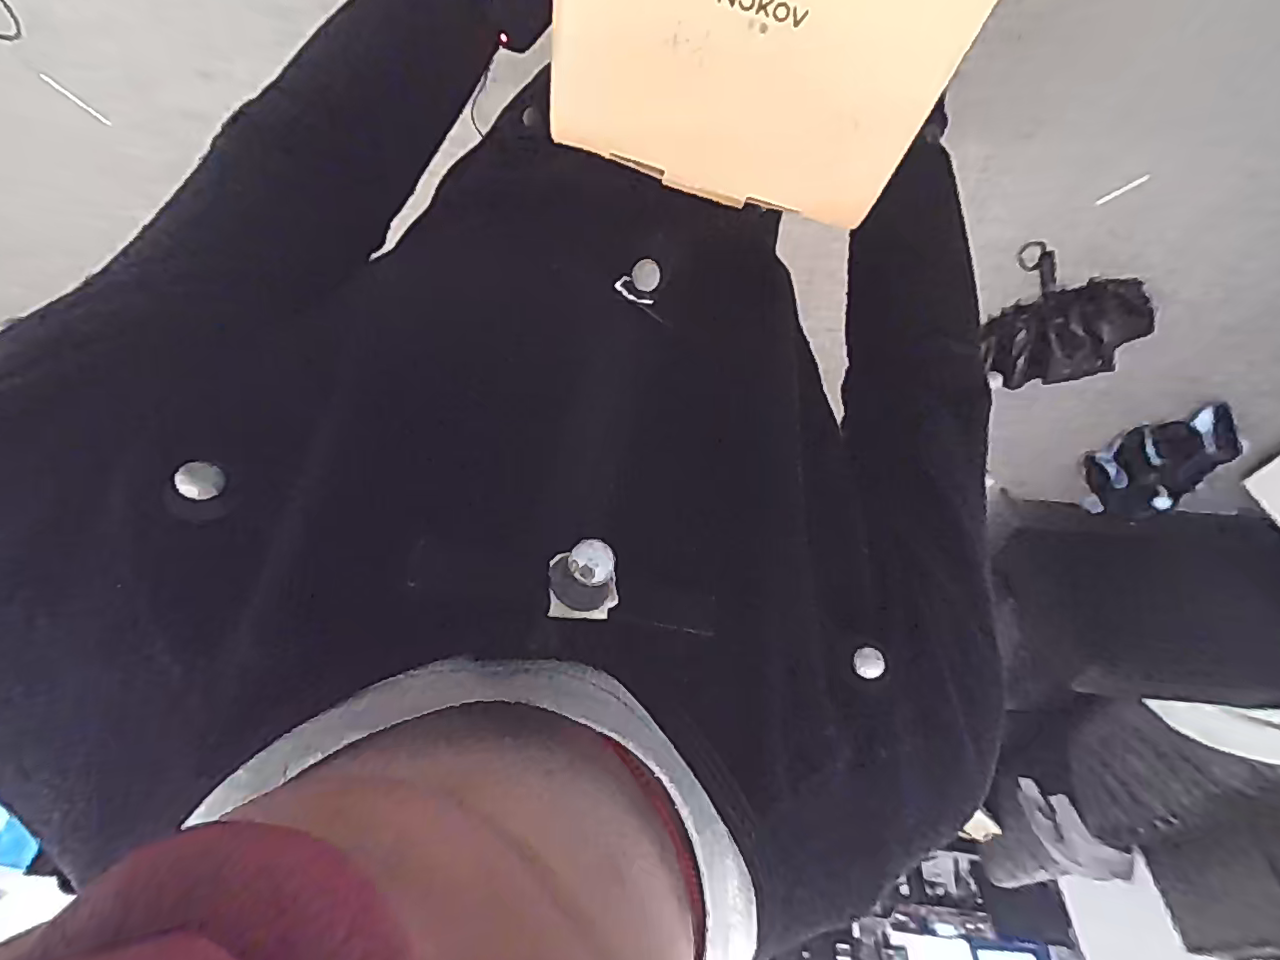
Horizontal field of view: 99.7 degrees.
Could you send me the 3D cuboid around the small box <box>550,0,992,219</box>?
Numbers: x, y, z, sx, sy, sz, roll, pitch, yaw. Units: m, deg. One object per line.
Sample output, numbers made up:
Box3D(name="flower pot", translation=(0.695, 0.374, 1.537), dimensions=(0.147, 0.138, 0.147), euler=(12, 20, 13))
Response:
Box3D(name="small box", translation=(0.064, -0.260, 0.233), dimensions=(0.168, 0.176, 0.179), euler=(14, 153, -3))
